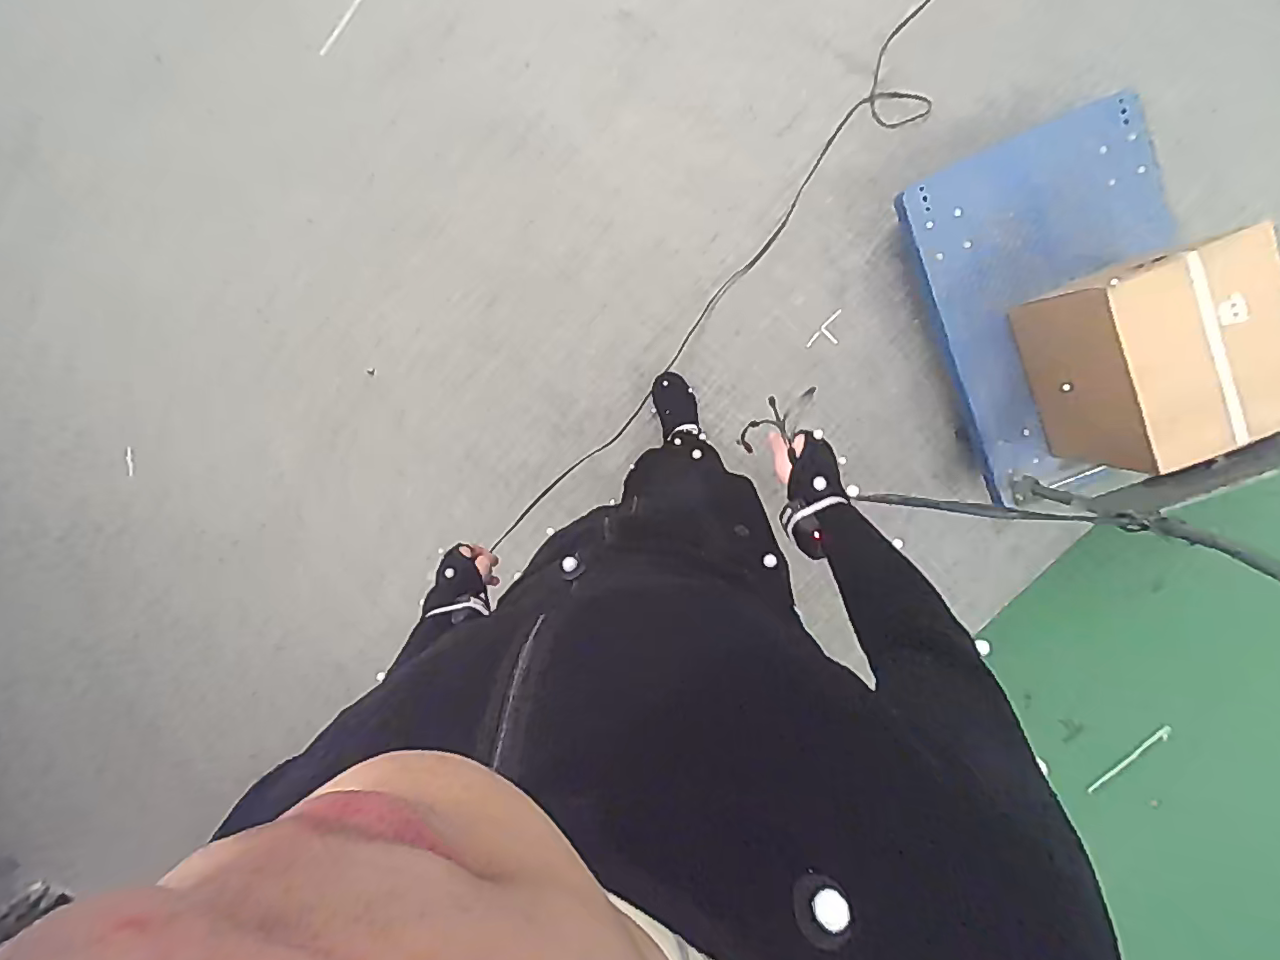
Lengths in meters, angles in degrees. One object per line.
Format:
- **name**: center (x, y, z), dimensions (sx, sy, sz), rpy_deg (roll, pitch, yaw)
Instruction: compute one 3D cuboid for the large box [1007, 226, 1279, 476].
- **large box**: center (1.109, -0.265, 1.200), dimensions (0.320, 0.320, 0.408), rpy_deg (-22, 98, 5)
